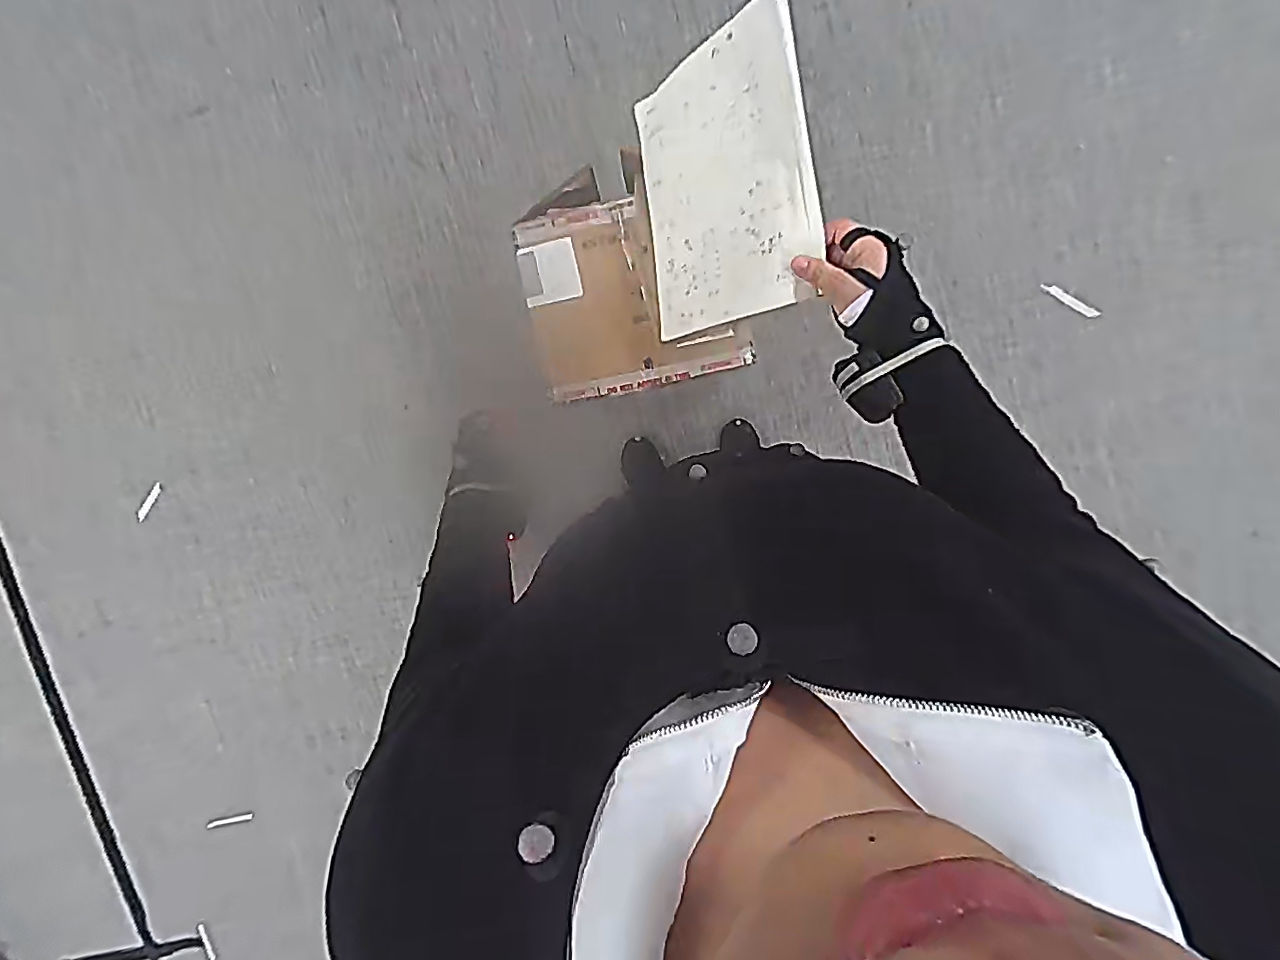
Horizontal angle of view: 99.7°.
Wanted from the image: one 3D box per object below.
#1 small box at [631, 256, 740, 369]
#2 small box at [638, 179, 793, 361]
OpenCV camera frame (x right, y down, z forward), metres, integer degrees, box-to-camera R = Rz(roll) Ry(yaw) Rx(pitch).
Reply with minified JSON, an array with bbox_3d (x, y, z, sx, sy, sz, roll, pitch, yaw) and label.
[{"bbox_3d":[0.090,-0.290,0.902,0.179,0.176,0.168,-16,96,3],"label":"small box"},{"bbox_3d":[0.092,-0.271,0.738,0.168,0.176,0.179,-13,98,2],"label":"small box"}]
